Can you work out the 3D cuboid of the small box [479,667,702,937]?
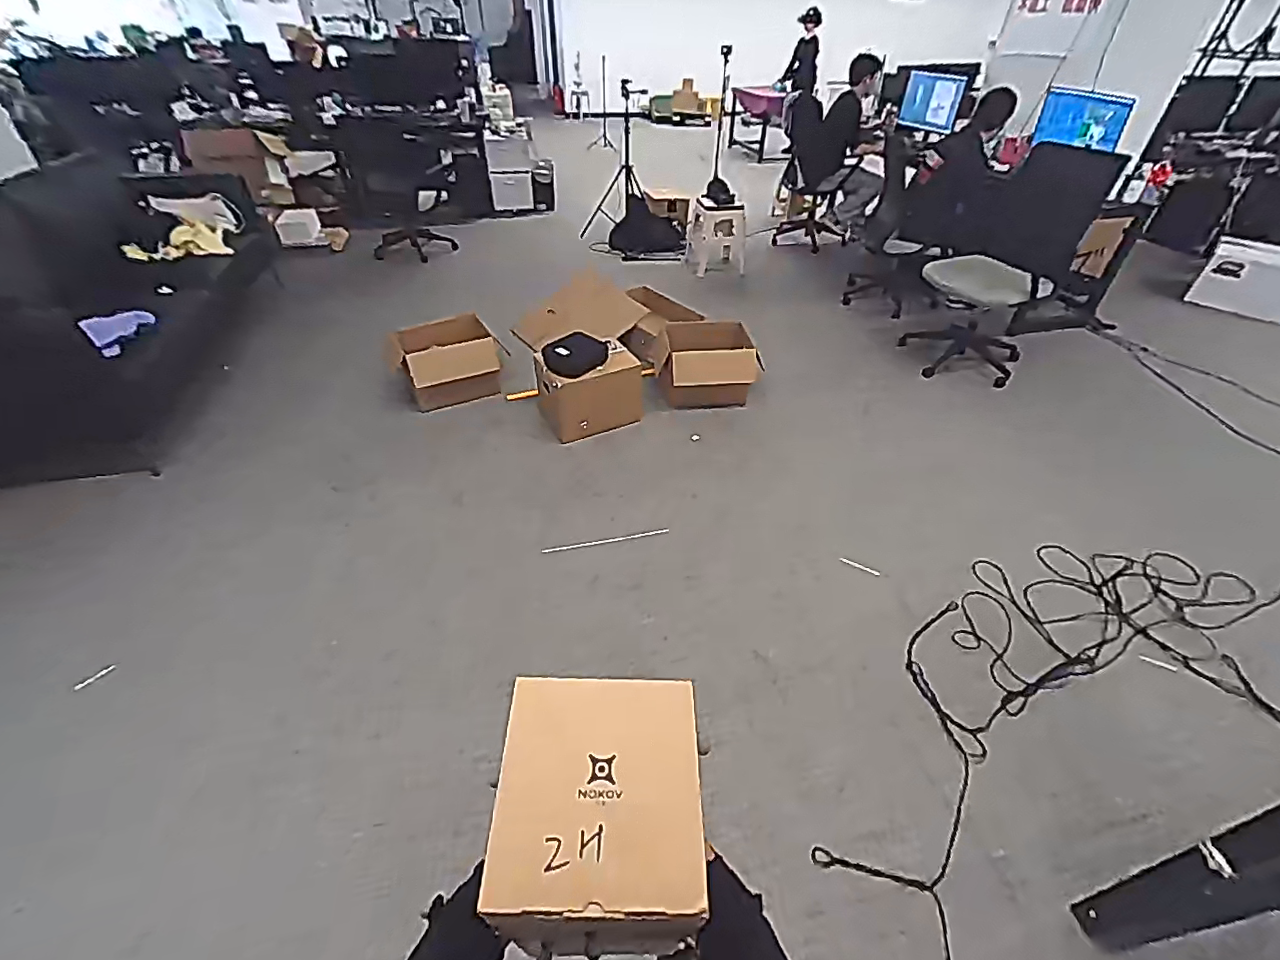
[{"bbox_3d":[-0.038,0.298,0.503,0.168,0.176,0.179,2,44,-1],"label":"small box"}]
